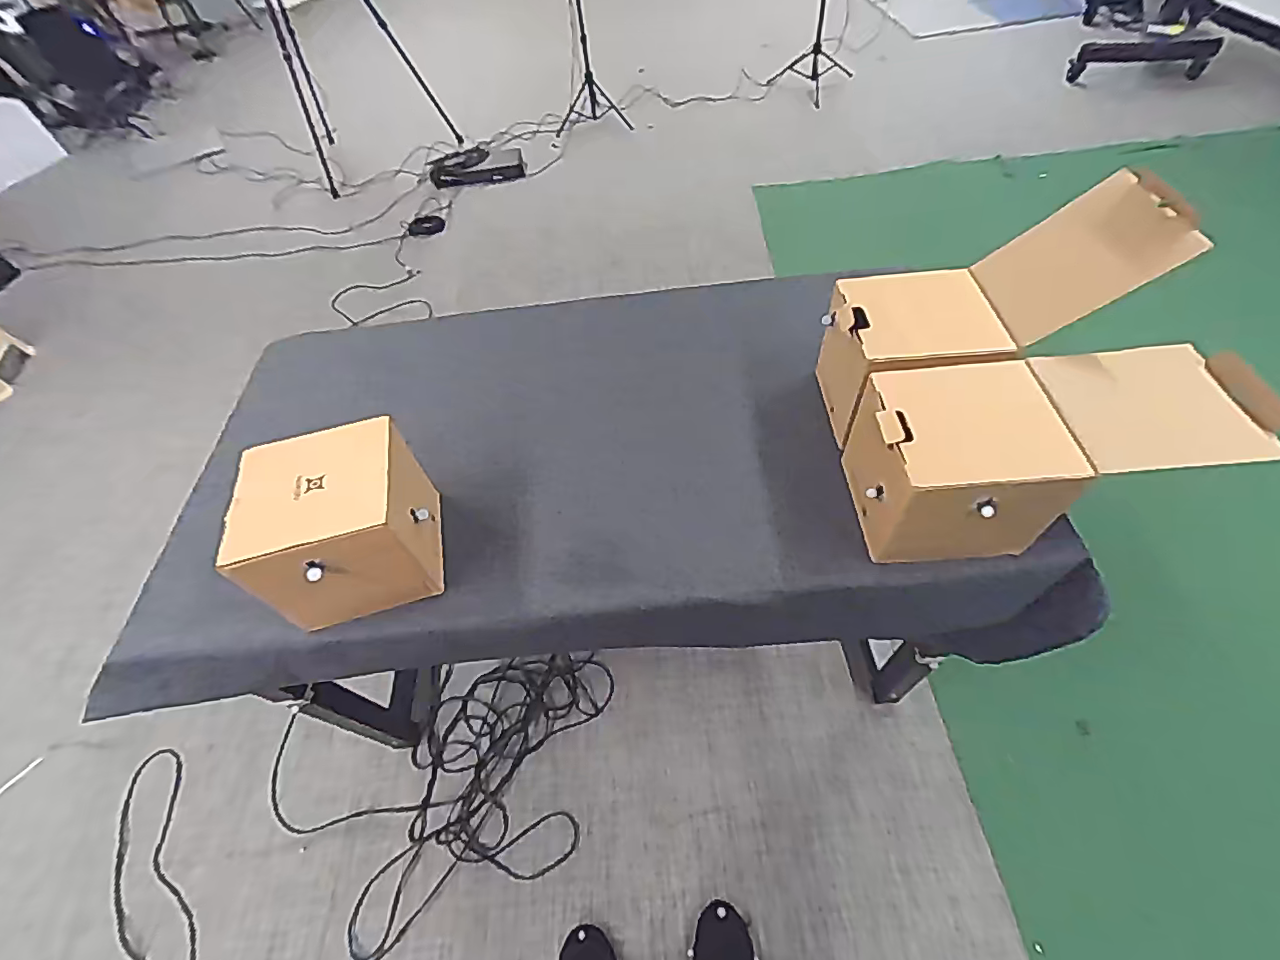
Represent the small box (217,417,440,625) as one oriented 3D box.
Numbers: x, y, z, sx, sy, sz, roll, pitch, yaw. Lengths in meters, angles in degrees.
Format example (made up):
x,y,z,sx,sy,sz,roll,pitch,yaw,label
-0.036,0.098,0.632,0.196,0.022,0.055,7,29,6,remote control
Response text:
x,y,z,sx,sy,sz,roll,pitch,yaw,label
-0.357,0.054,0.663,0.179,0.176,0.168,-16,53,-5,small box
